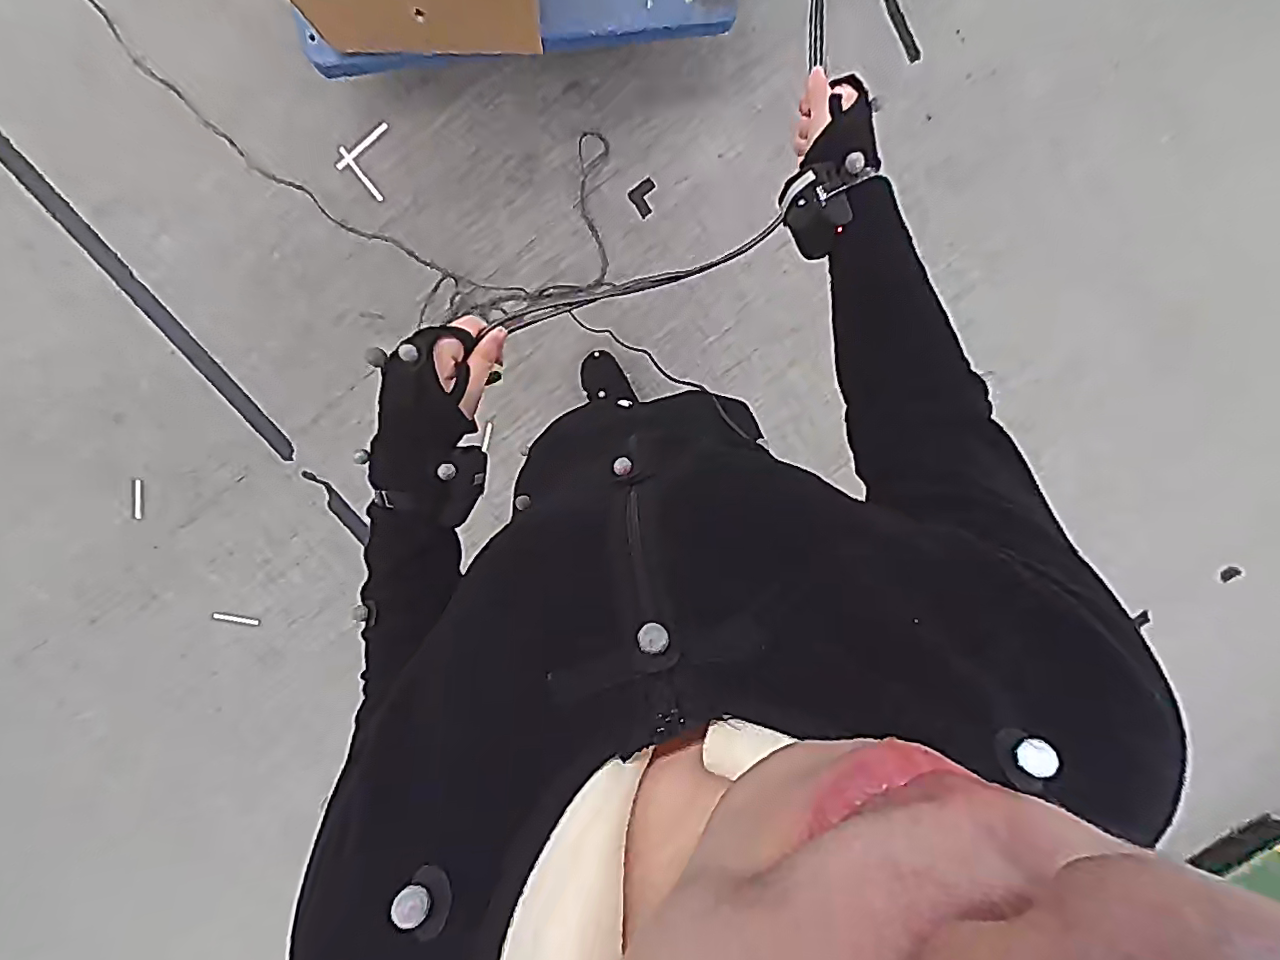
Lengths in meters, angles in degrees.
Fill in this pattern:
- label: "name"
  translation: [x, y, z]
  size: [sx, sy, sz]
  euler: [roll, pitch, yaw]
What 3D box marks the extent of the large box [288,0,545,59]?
- label: "large box"
  translation: [-0.385, -0.946, 0.888]
  size: [0.408, 0.320, 0.320]
  euler: [-4, 103, -4]
